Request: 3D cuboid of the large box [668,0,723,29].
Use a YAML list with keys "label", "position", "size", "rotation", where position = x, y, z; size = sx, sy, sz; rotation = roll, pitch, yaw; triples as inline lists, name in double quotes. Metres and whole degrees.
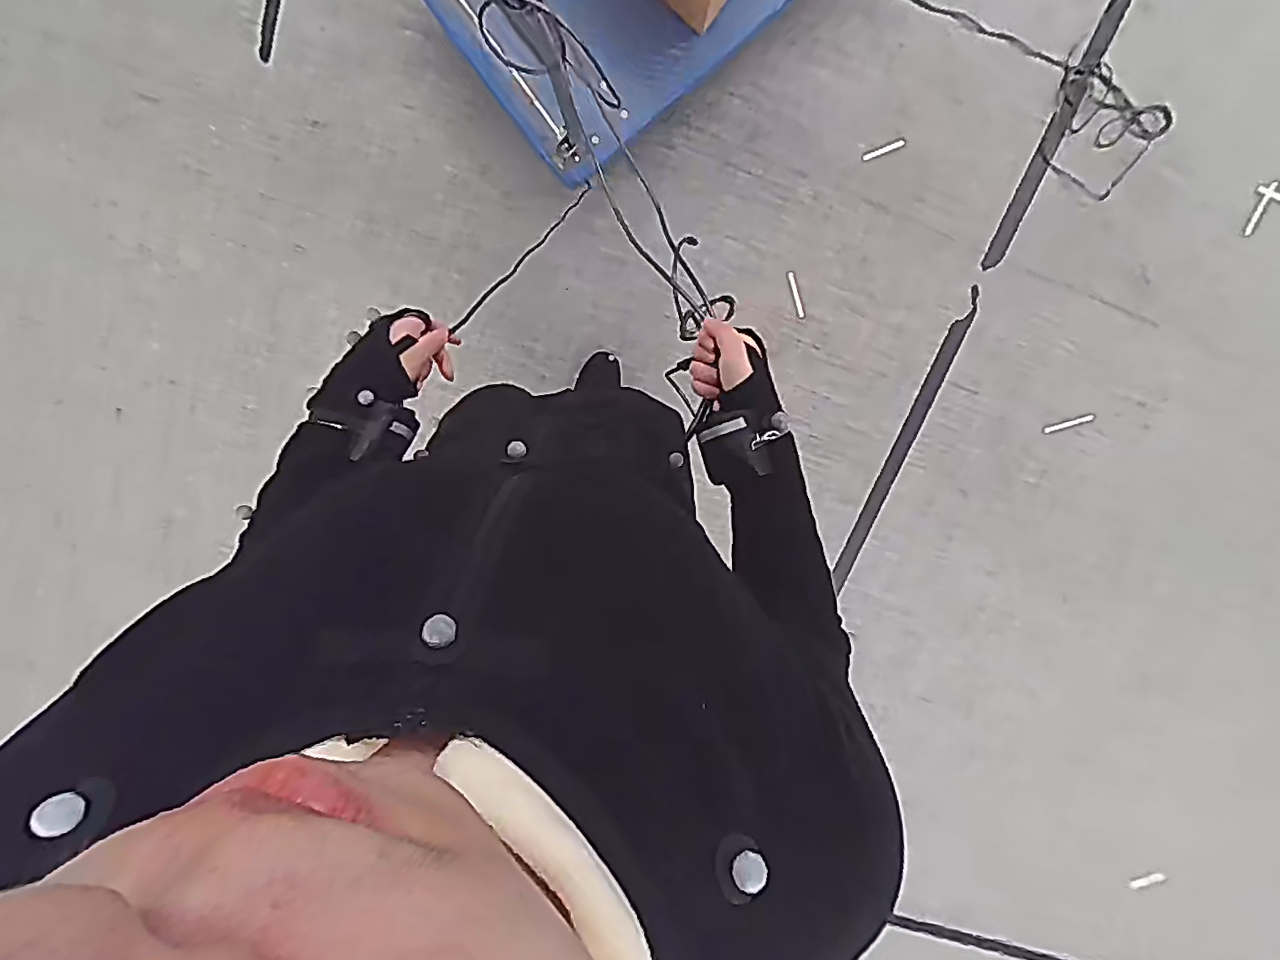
- label: "large box"
  position: [0.067, -1.128, 0.922]
  size: [0.408, 0.320, 0.320]
  rotation: [36, 99, -10]
